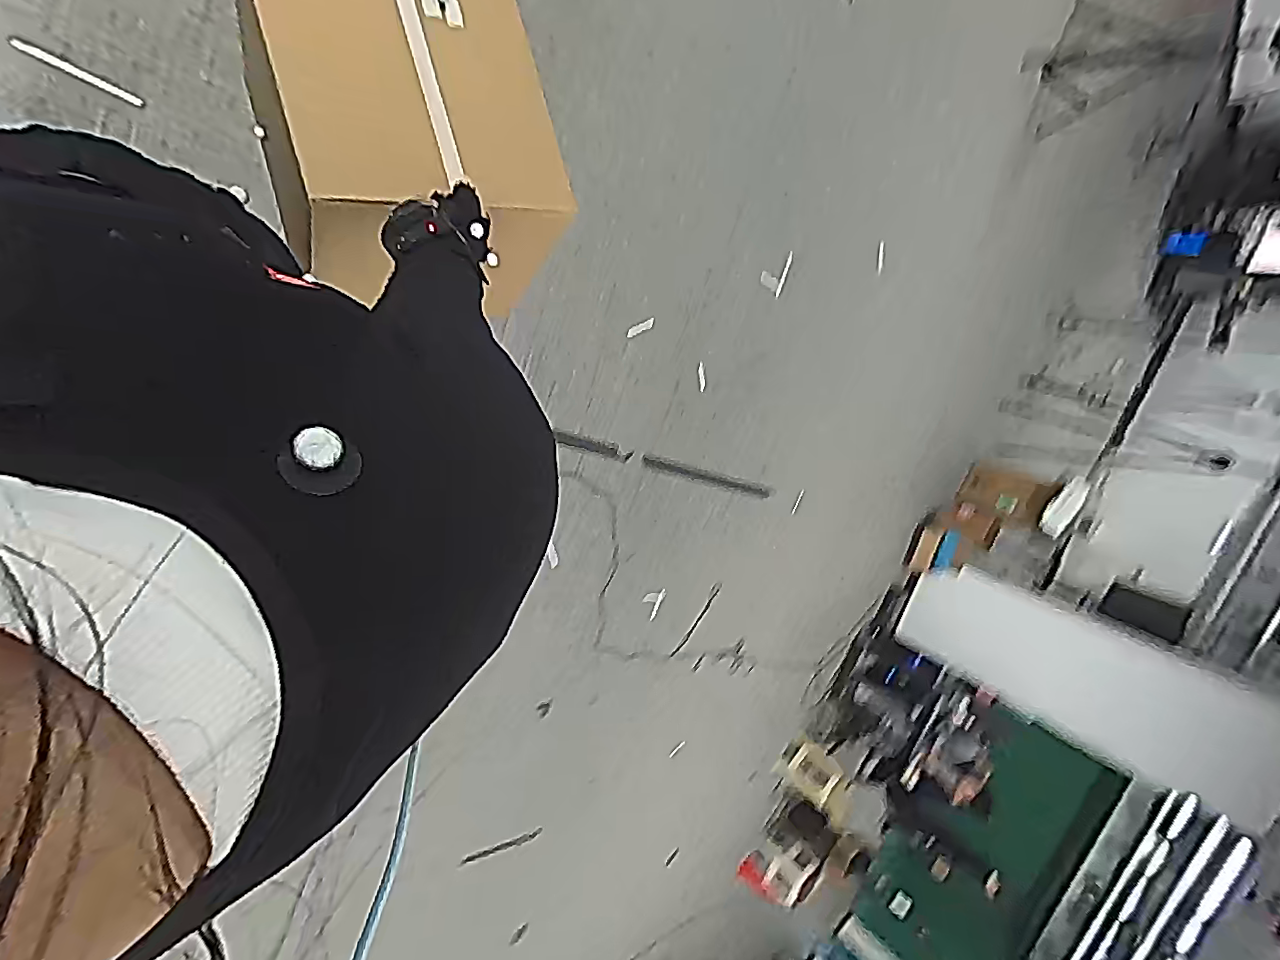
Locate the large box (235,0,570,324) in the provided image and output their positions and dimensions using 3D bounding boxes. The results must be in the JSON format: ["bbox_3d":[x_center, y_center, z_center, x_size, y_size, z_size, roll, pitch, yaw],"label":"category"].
[{"bbox_3d":[-0.350,-0.484,0.779,0.320,0.320,0.408,-15,88,-35],"label":"large box"}]
